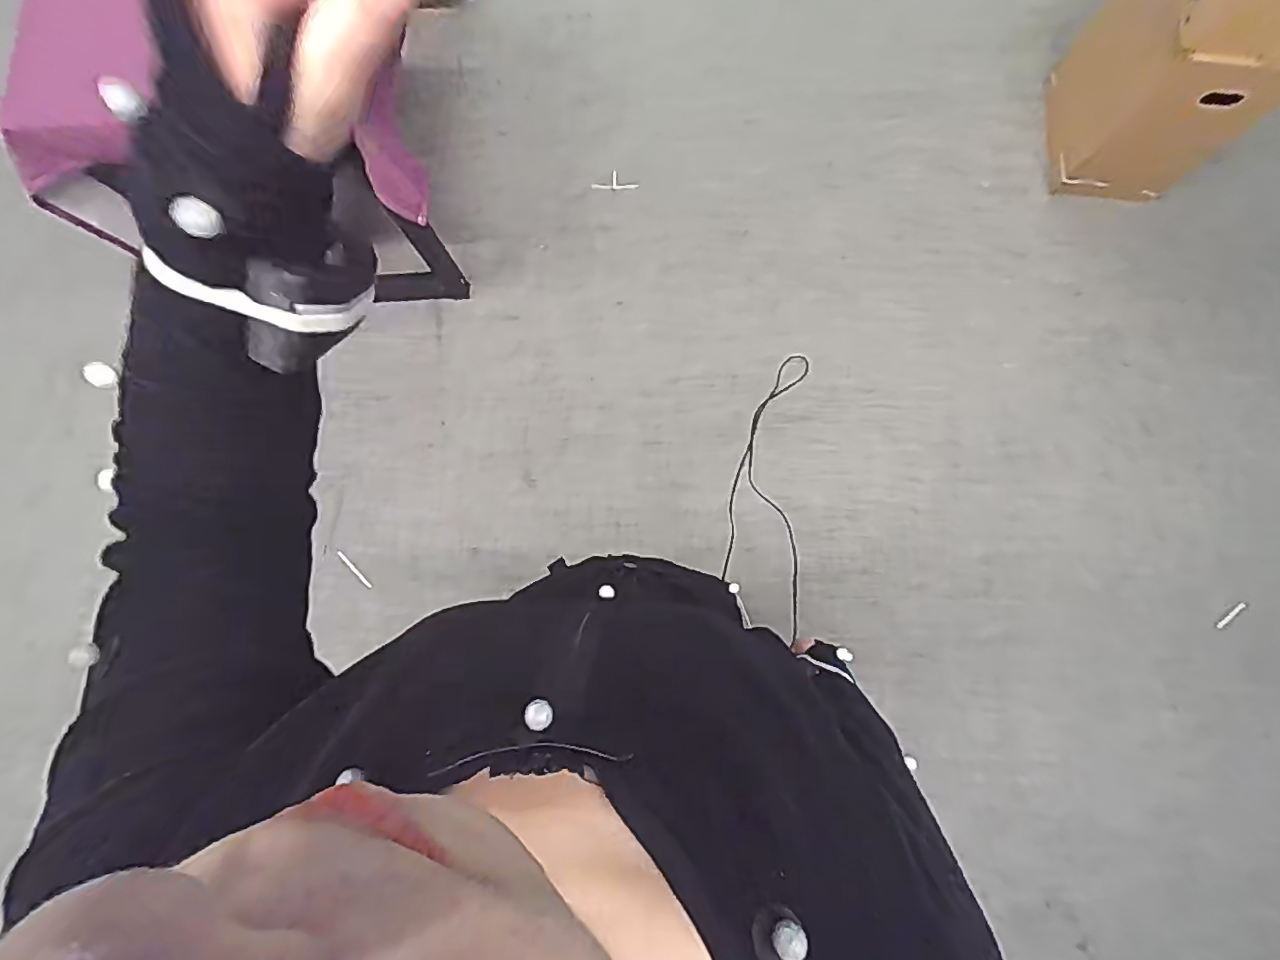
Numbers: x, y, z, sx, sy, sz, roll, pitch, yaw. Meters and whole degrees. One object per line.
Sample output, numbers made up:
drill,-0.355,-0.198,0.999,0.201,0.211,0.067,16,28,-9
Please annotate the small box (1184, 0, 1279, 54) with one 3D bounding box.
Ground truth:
small box,1.322,-1.052,1.145,0.179,0.176,0.168,8,80,2

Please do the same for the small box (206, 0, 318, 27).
small box,-0.676,-0.916,0.917,0.179,0.176,0.168,3,81,2
